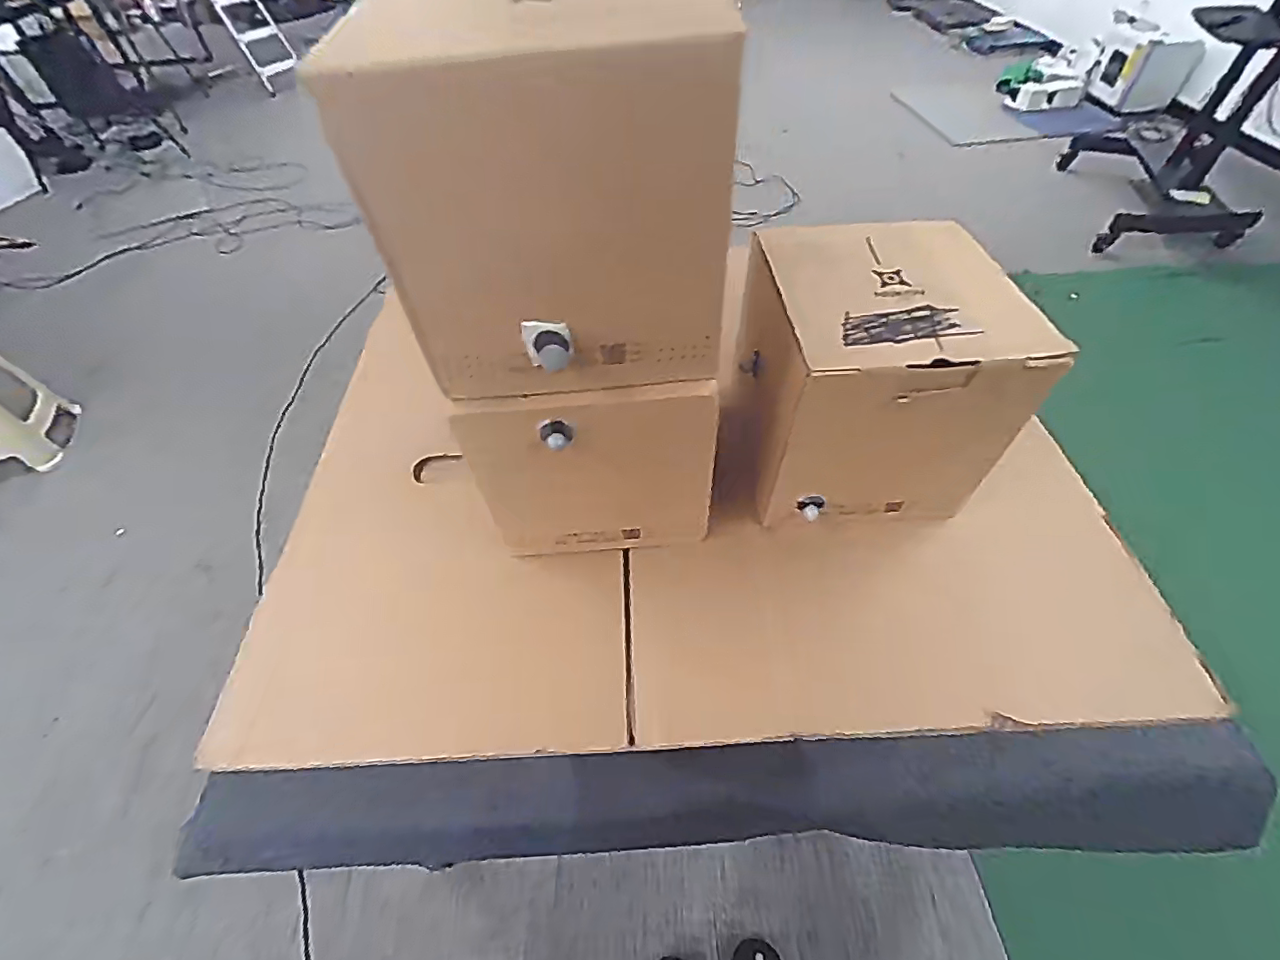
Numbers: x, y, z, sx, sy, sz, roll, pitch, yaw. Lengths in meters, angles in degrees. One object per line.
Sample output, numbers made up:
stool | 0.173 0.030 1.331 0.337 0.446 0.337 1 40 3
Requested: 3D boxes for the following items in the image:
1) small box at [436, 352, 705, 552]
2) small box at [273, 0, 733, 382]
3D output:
small box | -0.041 -0.063 0.437 0.168 0.176 0.179 -5 51 1
small box | -0.052 -0.179 0.303 0.168 0.176 0.179 -7 53 -1
